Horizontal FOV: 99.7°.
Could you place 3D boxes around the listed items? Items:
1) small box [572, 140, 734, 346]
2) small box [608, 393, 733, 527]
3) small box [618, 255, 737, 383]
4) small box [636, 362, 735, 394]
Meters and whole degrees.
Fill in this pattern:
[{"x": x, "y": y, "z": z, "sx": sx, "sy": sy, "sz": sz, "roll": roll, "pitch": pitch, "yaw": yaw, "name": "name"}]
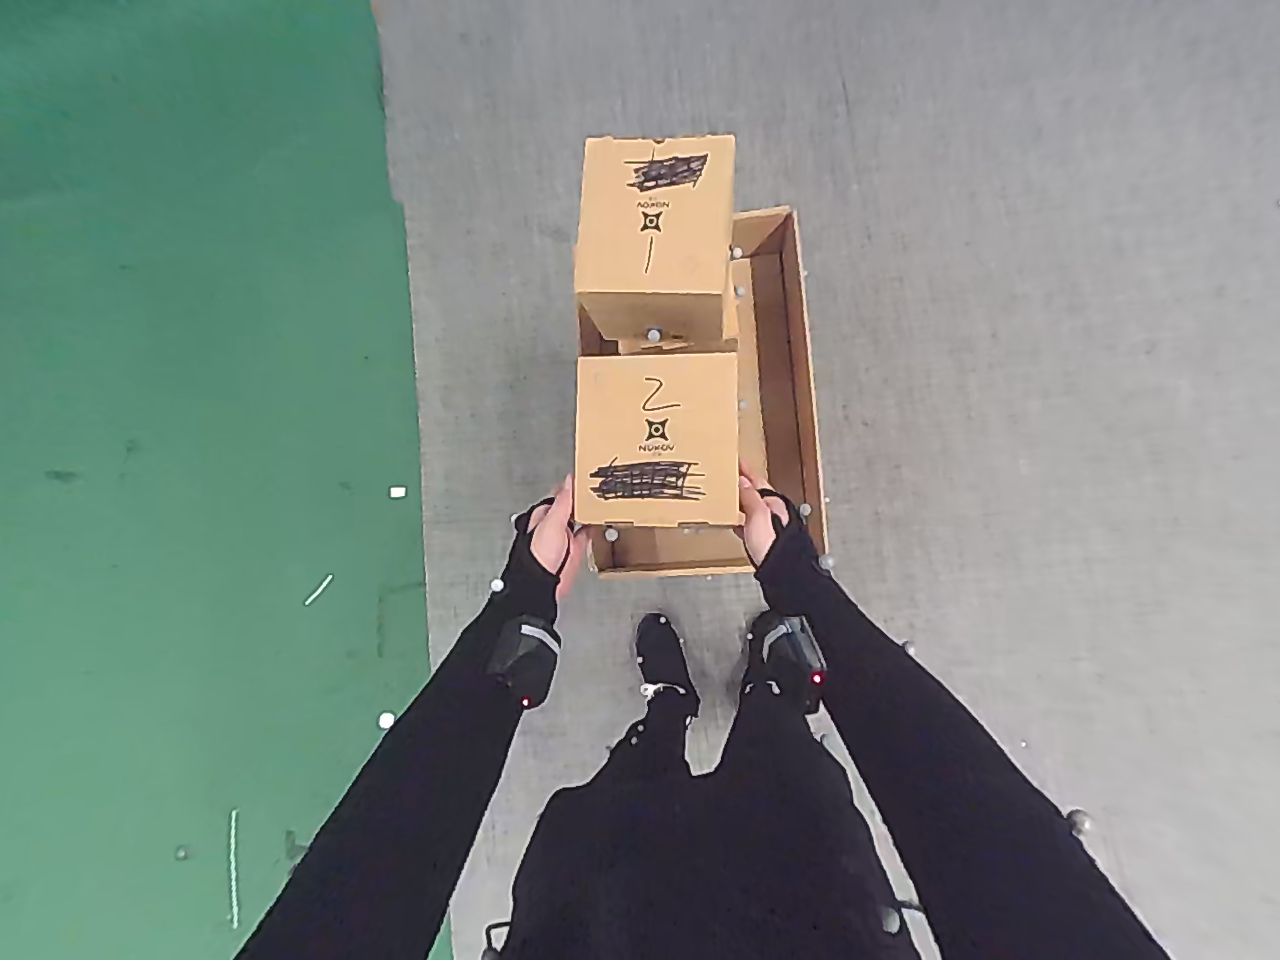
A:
[{"x": 0.024, "y": -0.280, "z": 0.667, "sx": 0.168, "sy": 0.176, "sz": 0.179, "roll": 4, "pitch": 87, "yaw": 9, "name": "small box"}, {"x": 0.053, "y": -0.021, "z": 0.797, "sx": 0.168, "sy": 0.176, "sz": 0.179, "roll": 1, "pitch": 82, "yaw": 9, "name": "small box"}, {"x": 0.055, "y": -0.262, "z": 0.827, "sx": 0.168, "sy": 0.176, "sz": 0.179, "roll": -6, "pitch": 85, "yaw": 8, "name": "small box"}, {"x": 0.082, "y": -0.250, "z": 0.987, "sx": 0.168, "sy": 0.176, "sz": 0.179, "roll": -5, "pitch": 84, "yaw": 9, "name": "small box"}]
